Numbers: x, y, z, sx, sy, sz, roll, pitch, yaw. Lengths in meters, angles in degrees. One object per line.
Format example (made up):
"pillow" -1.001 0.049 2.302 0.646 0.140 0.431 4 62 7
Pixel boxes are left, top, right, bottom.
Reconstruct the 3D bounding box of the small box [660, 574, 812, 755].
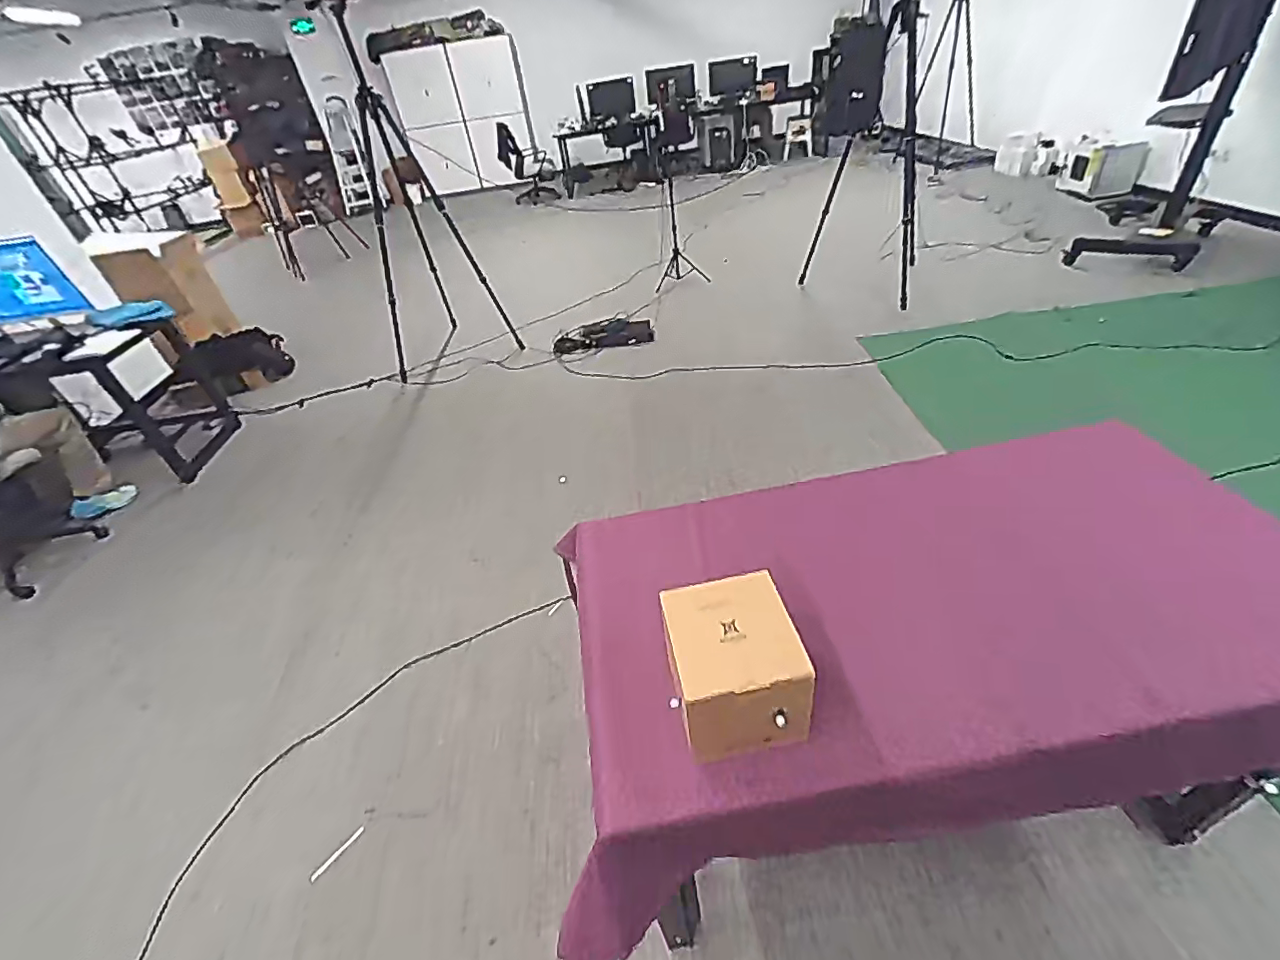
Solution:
"small box" 0.130 0.266 0.771 0.168 0.176 0.179 -10 38 -3
